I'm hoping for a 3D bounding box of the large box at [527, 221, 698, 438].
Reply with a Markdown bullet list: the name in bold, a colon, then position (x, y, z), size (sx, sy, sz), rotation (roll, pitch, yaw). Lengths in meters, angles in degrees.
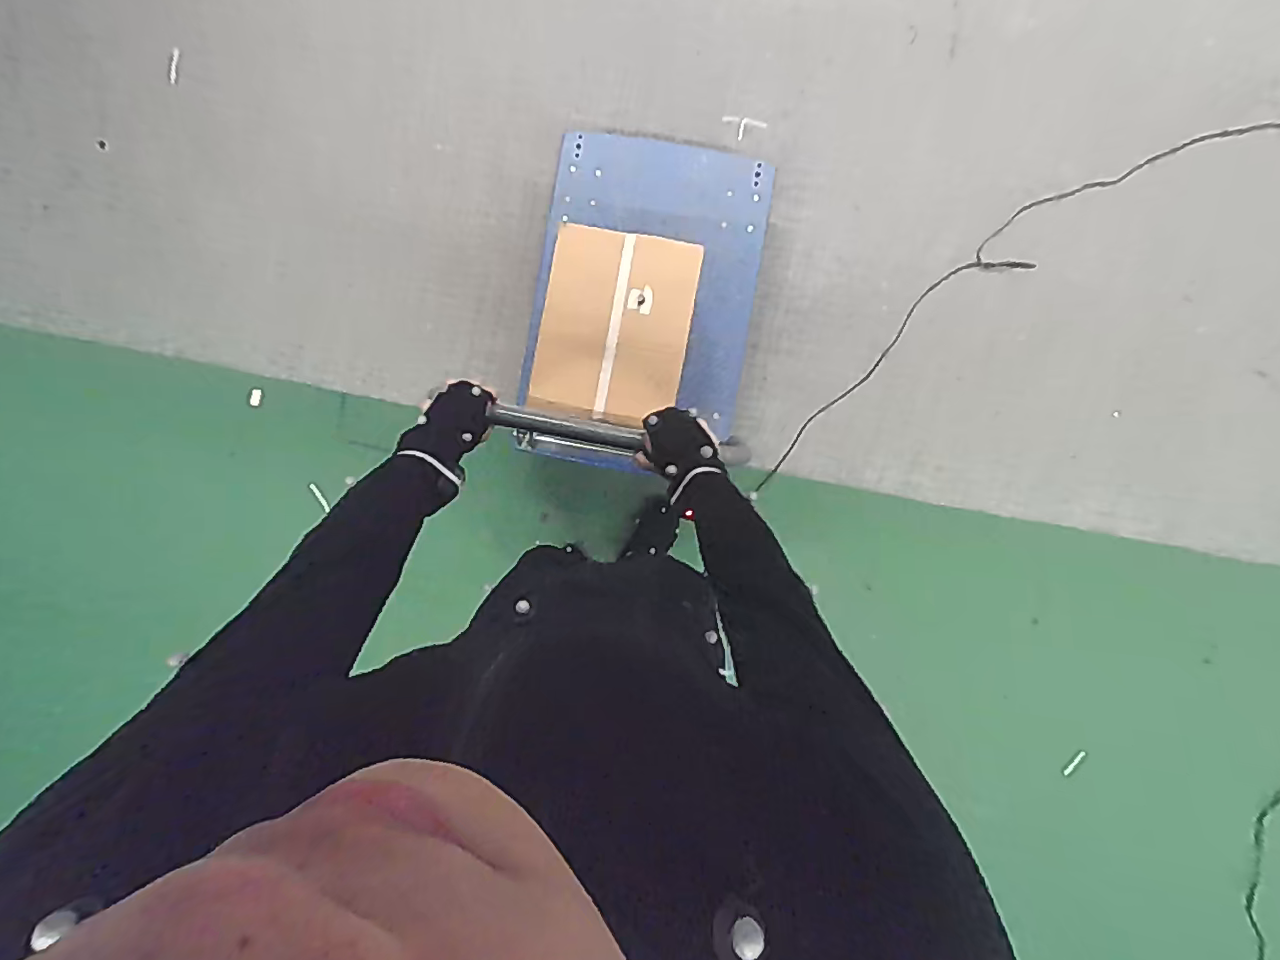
- **large box**: position (-0.053, -0.332, 1.300), size (0.320, 0.320, 0.408), rotation (11, 90, 1)
